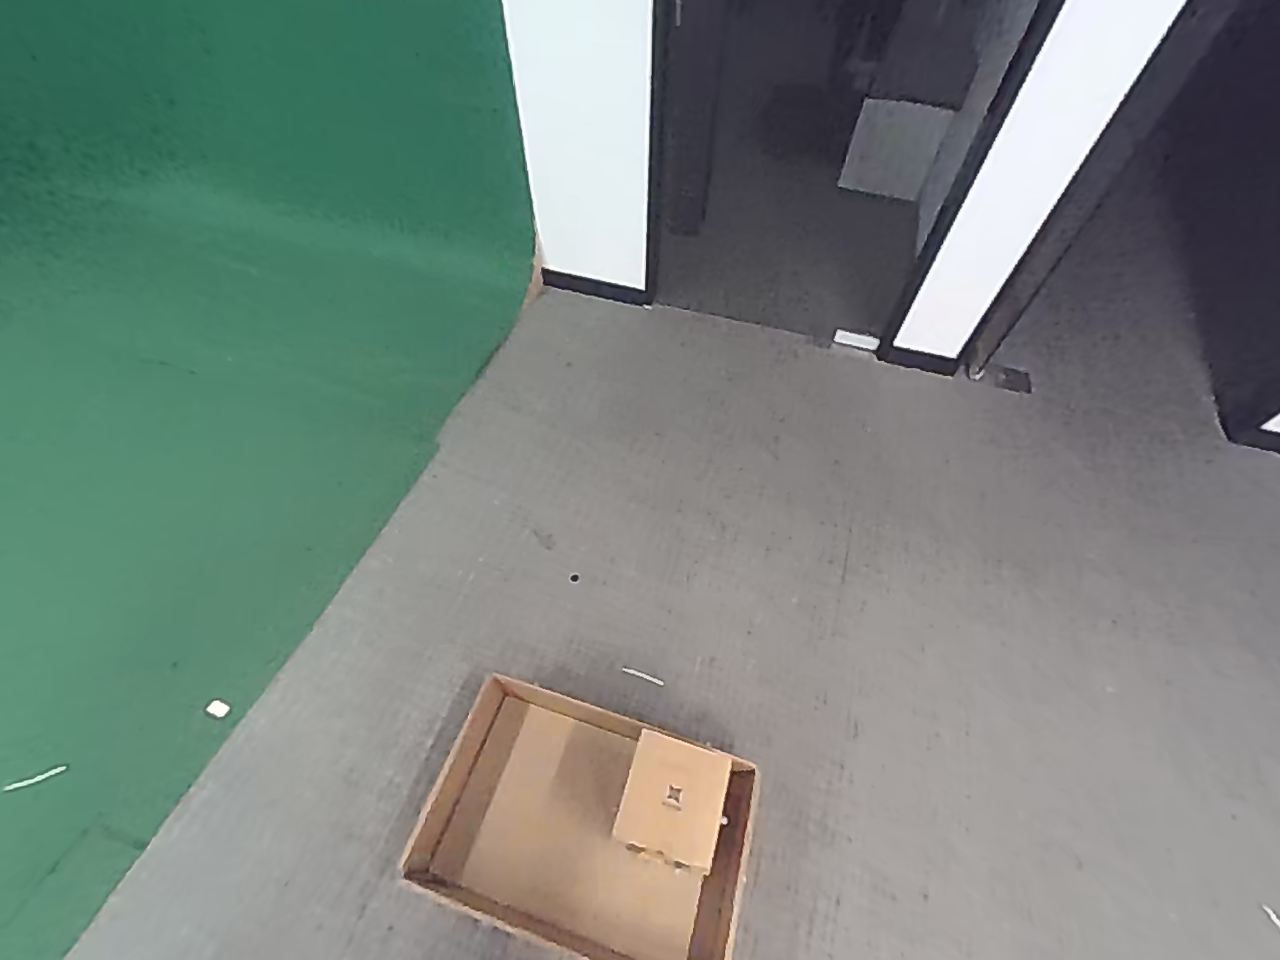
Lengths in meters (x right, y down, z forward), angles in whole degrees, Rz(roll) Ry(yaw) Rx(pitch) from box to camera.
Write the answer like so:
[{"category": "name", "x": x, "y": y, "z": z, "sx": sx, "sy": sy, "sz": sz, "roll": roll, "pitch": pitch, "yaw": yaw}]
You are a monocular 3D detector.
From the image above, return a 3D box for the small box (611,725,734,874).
[{"category": "small box", "x": 0.058, "y": 0.563, "z": 0.953, "sx": 0.168, "sy": 0.176, "sz": 0.179, "roll": 15, "pitch": 56, "yaw": 10}]

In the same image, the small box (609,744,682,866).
[{"category": "small box", "x": 0.043, "y": 0.666, "z": 1.103, "sx": 0.168, "sy": 0.176, "sz": 0.179, "roll": 11, "pitch": 55, "yaw": 9}]
